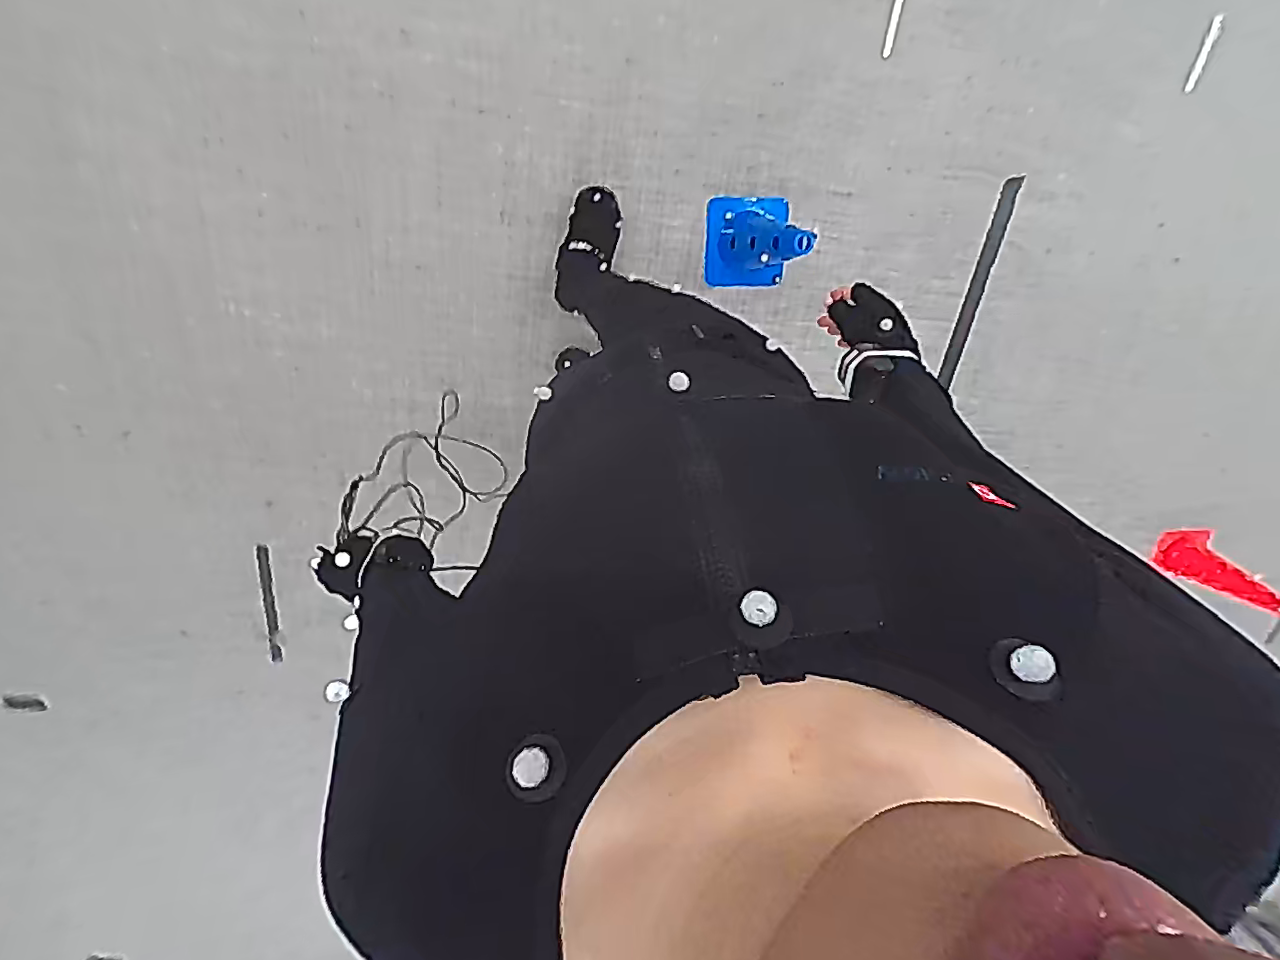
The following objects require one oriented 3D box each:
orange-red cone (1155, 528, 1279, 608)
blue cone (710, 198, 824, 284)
[{"bbox_3d":[1.953,0.322,1.751,0.198,0.360,0.199,-2,112,-8],"label":"orange-red cone"},{"bbox_3d":[0.285,-0.511,1.154,0.192,0.380,0.193,-2,113,-7],"label":"blue cone"}]
